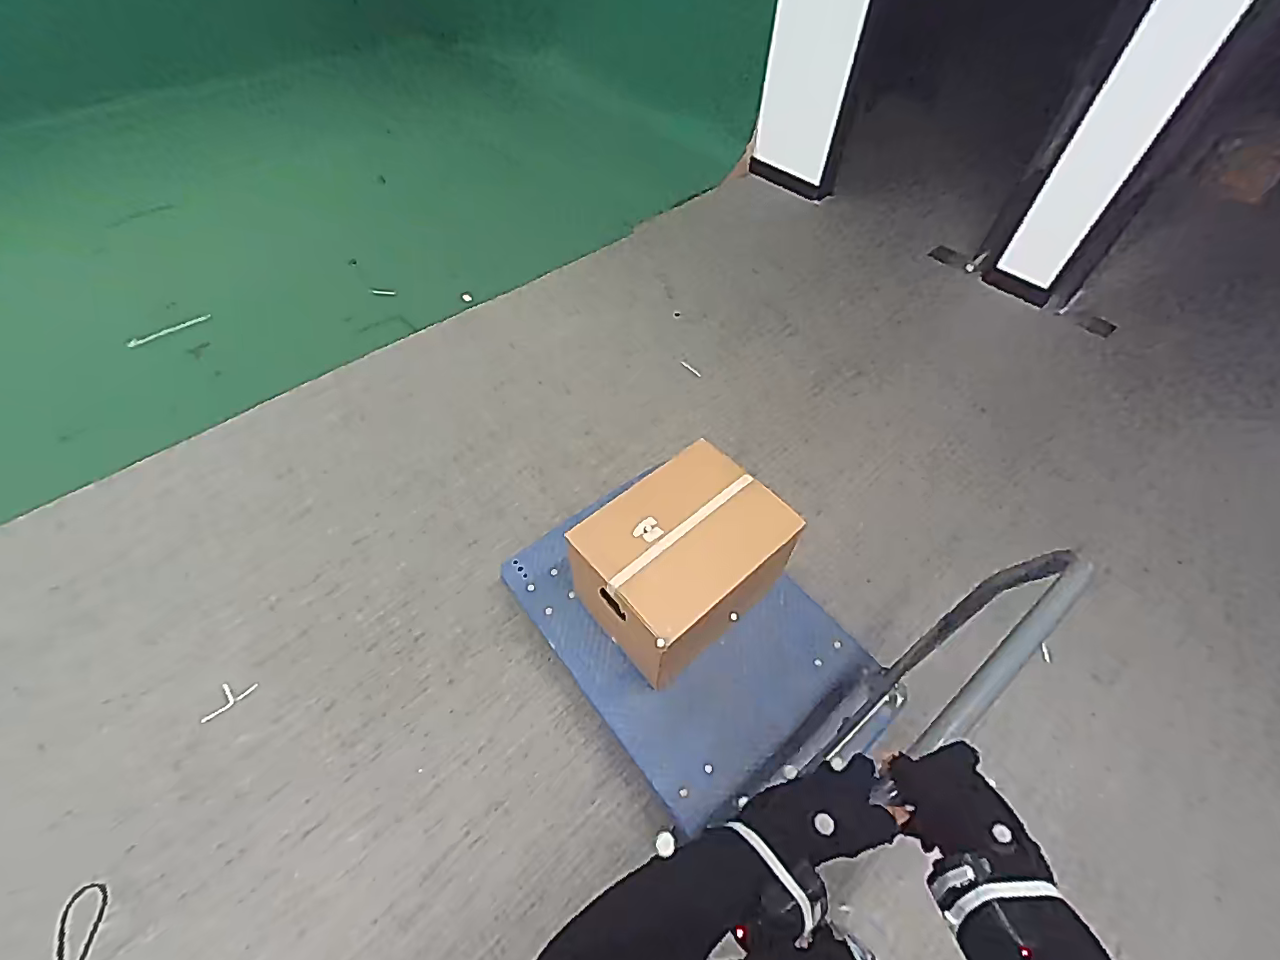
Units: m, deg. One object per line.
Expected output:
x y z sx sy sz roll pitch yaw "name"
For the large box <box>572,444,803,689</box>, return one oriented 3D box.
0.101 0.197 1.248 0.408 0.320 0.320 -35 61 -23 "large box"
